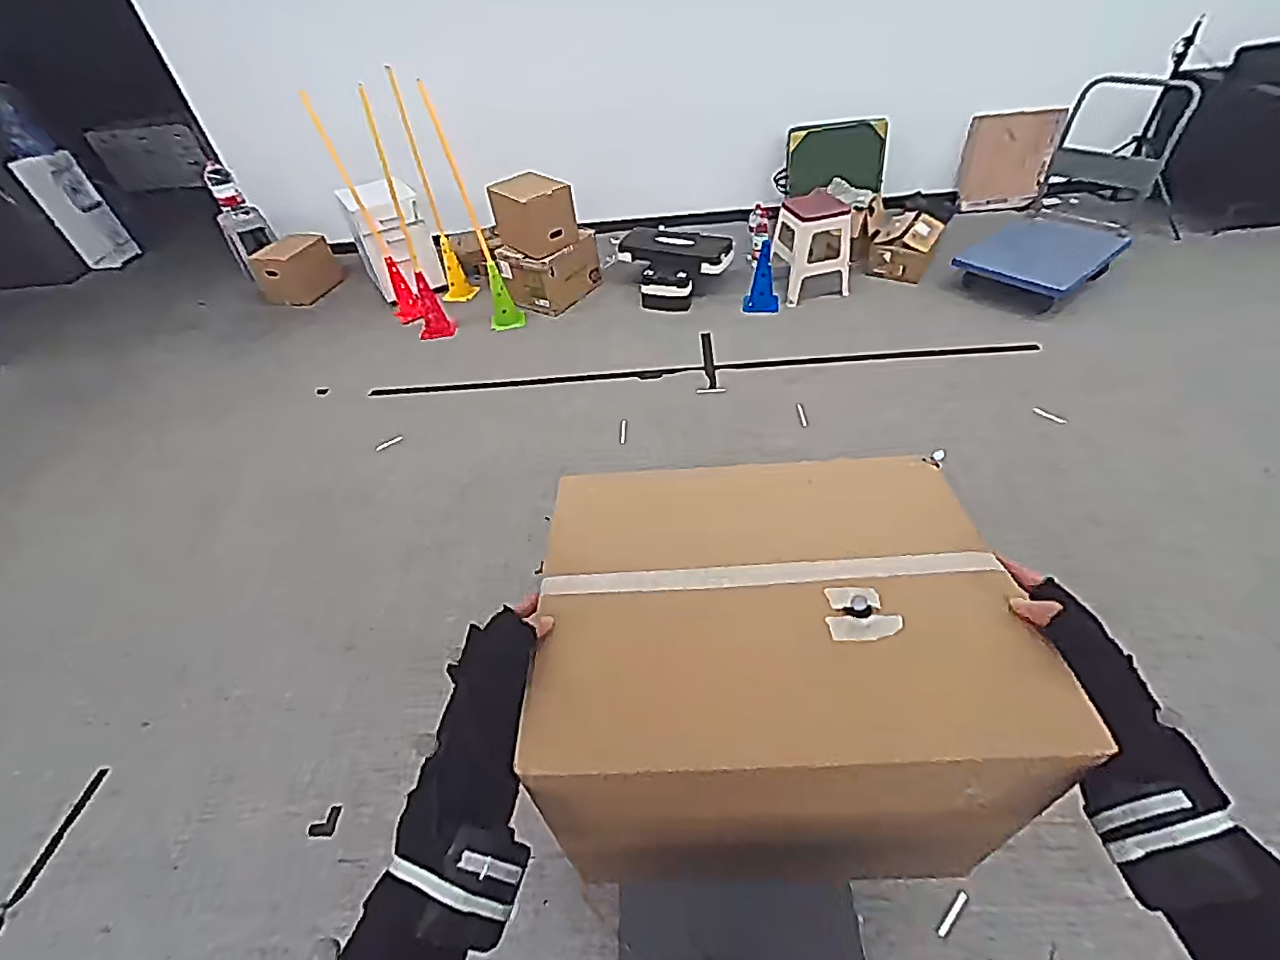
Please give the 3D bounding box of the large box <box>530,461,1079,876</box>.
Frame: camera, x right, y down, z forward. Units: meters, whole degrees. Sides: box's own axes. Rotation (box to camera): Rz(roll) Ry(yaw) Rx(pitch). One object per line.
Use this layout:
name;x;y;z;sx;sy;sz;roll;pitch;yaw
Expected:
large box;0.123;0.205;0.595;0.408;0.320;0.320;-4;42;3
